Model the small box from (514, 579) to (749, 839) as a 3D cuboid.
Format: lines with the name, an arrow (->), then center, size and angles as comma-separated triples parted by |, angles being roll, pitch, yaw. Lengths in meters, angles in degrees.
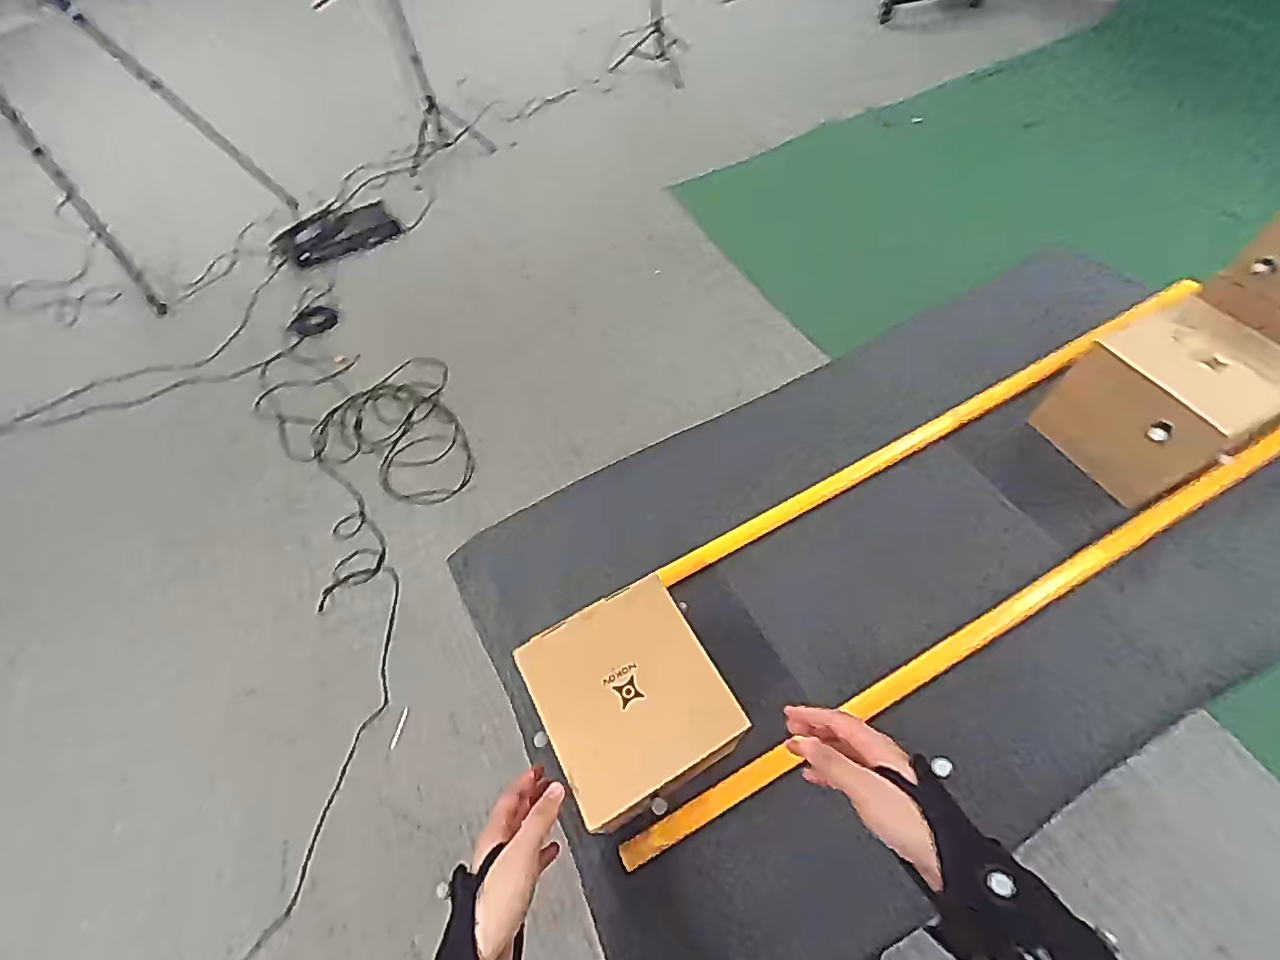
small box -> -0.007, 0.241, 0.569 | 0.168, 0.176, 0.179 | -27, 58, -13

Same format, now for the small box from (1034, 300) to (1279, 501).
small box -> 0.683, -0.094, 0.708 | 0.168, 0.176, 0.179 | -24, 59, -9

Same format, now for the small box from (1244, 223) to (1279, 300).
small box -> 0.869, -0.281, 0.610 | 0.179, 0.176, 0.168 | -22, 59, -8
